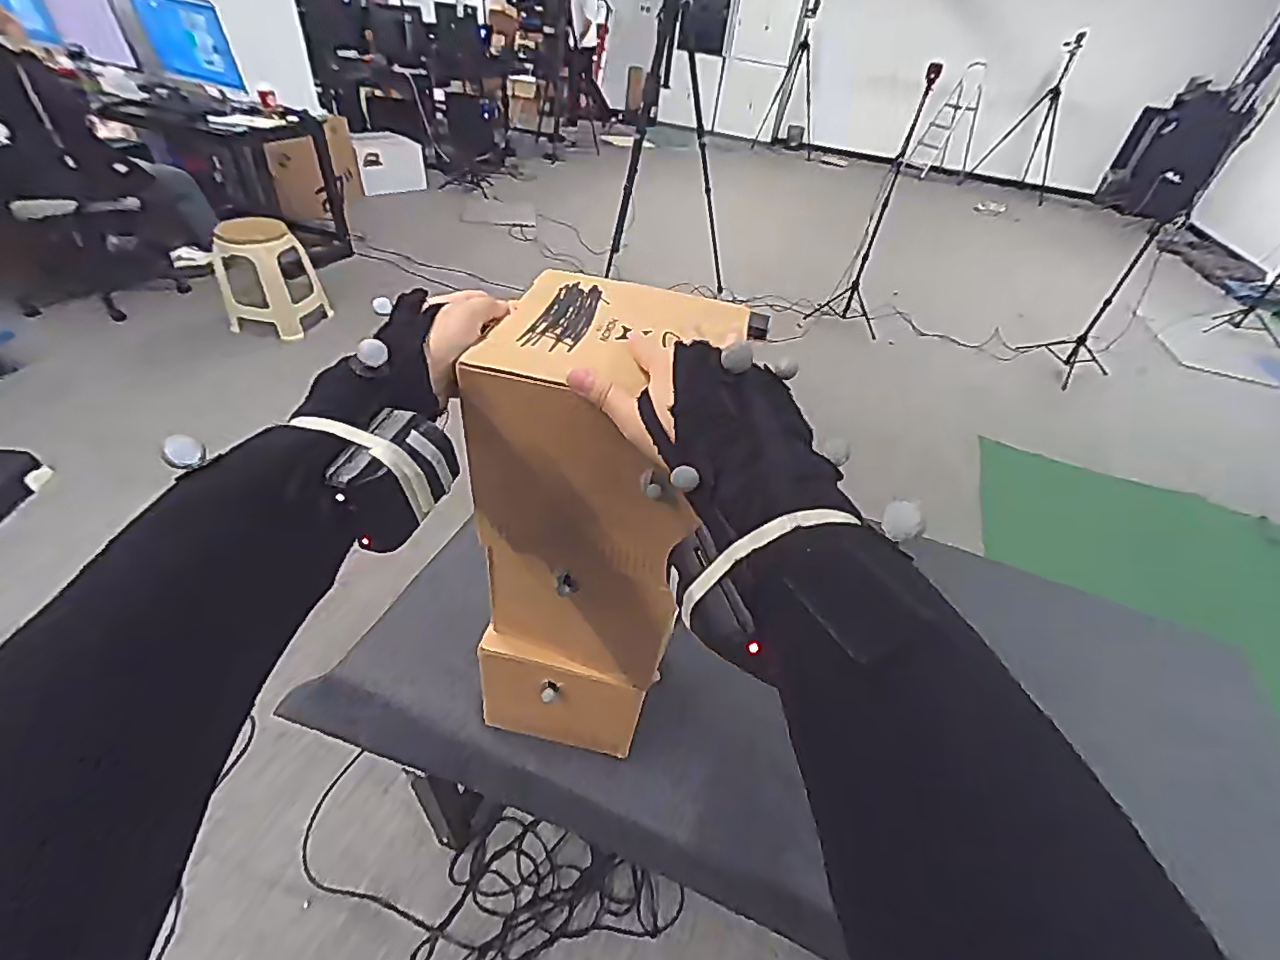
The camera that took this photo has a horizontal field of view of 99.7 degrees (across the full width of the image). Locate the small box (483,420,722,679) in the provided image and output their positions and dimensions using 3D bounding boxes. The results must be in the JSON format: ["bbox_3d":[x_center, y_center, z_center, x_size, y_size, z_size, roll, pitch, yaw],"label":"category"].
[{"bbox_3d":[-0.035,0.070,0.547,0.179,0.176,0.168,19,43,10],"label":"small box"}]

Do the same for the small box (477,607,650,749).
[{"bbox_3d":[-0.073,0.194,0.645,0.179,0.176,0.168,12,41,4],"label":"small box"}]
